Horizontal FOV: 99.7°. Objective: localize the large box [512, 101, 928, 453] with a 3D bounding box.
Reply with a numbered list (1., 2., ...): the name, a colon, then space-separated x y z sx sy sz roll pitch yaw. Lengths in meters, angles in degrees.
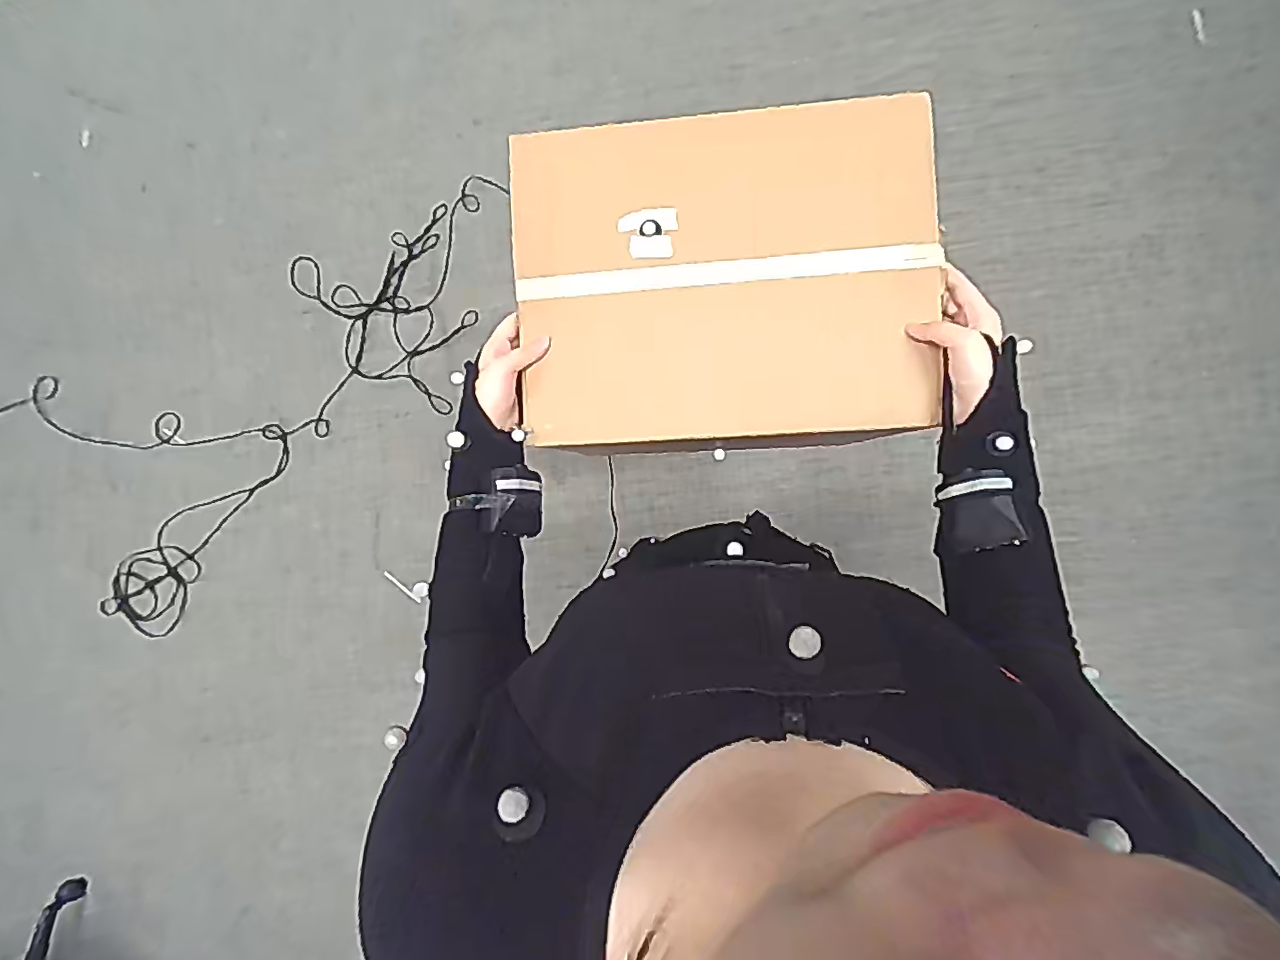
1. large box: 0.091 -0.201 0.686 0.408 0.320 0.320 -3 90 7
